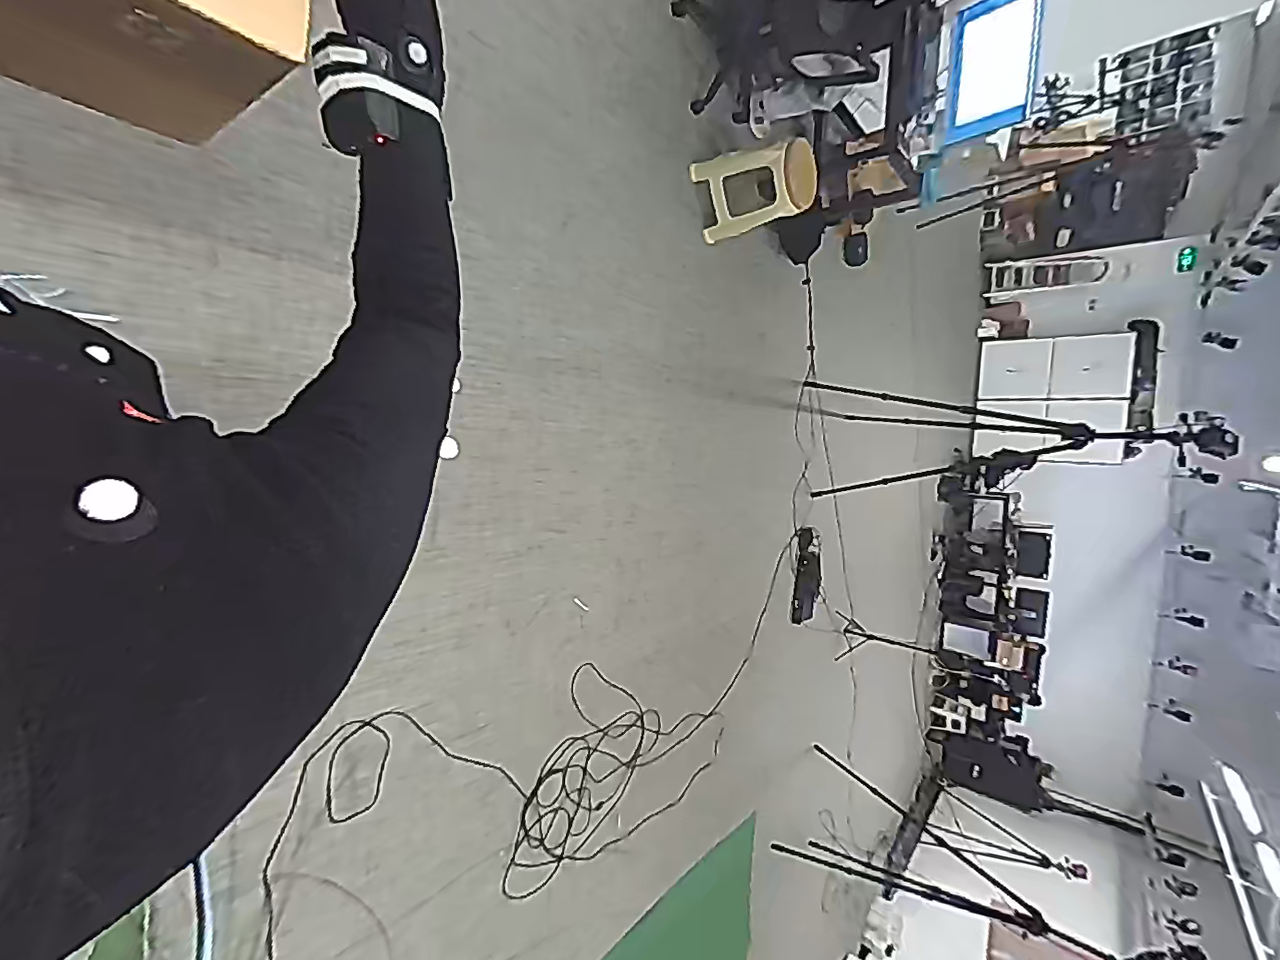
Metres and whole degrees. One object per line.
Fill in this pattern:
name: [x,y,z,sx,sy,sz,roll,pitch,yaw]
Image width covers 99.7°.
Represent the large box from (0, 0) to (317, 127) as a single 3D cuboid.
large box: [-0.446,-0.473,0.293,0.408,0.320,0.320,-1,104,-51]
